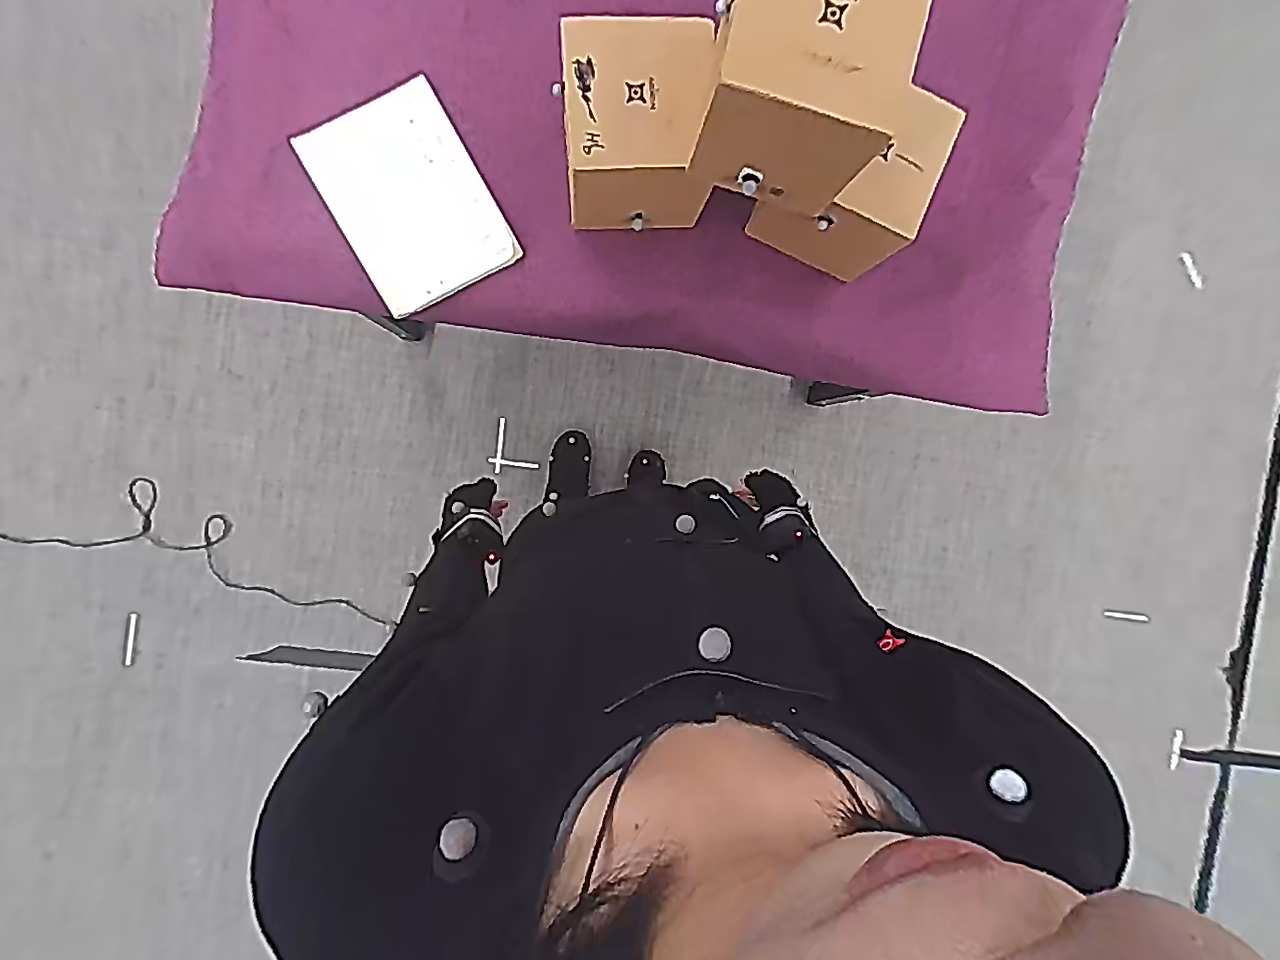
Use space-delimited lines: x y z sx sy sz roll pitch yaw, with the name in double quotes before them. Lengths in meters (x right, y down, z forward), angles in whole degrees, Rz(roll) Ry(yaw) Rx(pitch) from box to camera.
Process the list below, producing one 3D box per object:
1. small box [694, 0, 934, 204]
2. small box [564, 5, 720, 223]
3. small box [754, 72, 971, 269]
"small box" 0.159 -0.411 0.531 0.168 0.176 0.179 13 92 -5
"small box" -0.003 -0.440 0.677 0.179 0.176 0.168 -4 93 -6
"small box" 0.271 -0.403 0.705 0.179 0.176 0.168 23 91 -6
